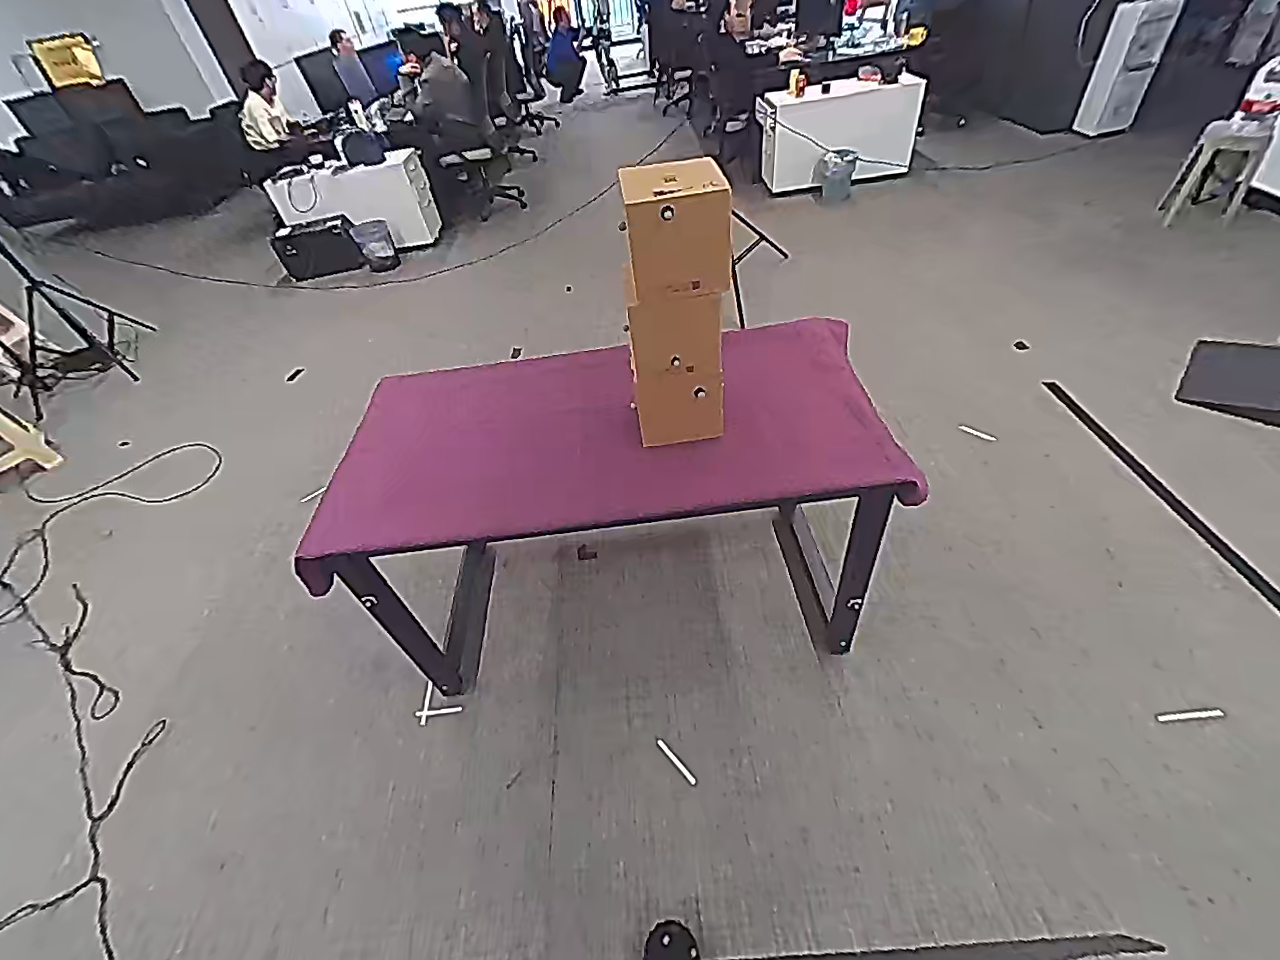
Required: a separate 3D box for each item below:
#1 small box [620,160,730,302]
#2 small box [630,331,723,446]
[{"bbox_3d":[0.058,-0.429,0.935,0.168,0.176,0.179,-8,44,2],"label":"small box"},{"bbox_3d":[0.079,-0.195,1.165,0.179,0.176,0.168,-9,44,2],"label":"small box"}]
